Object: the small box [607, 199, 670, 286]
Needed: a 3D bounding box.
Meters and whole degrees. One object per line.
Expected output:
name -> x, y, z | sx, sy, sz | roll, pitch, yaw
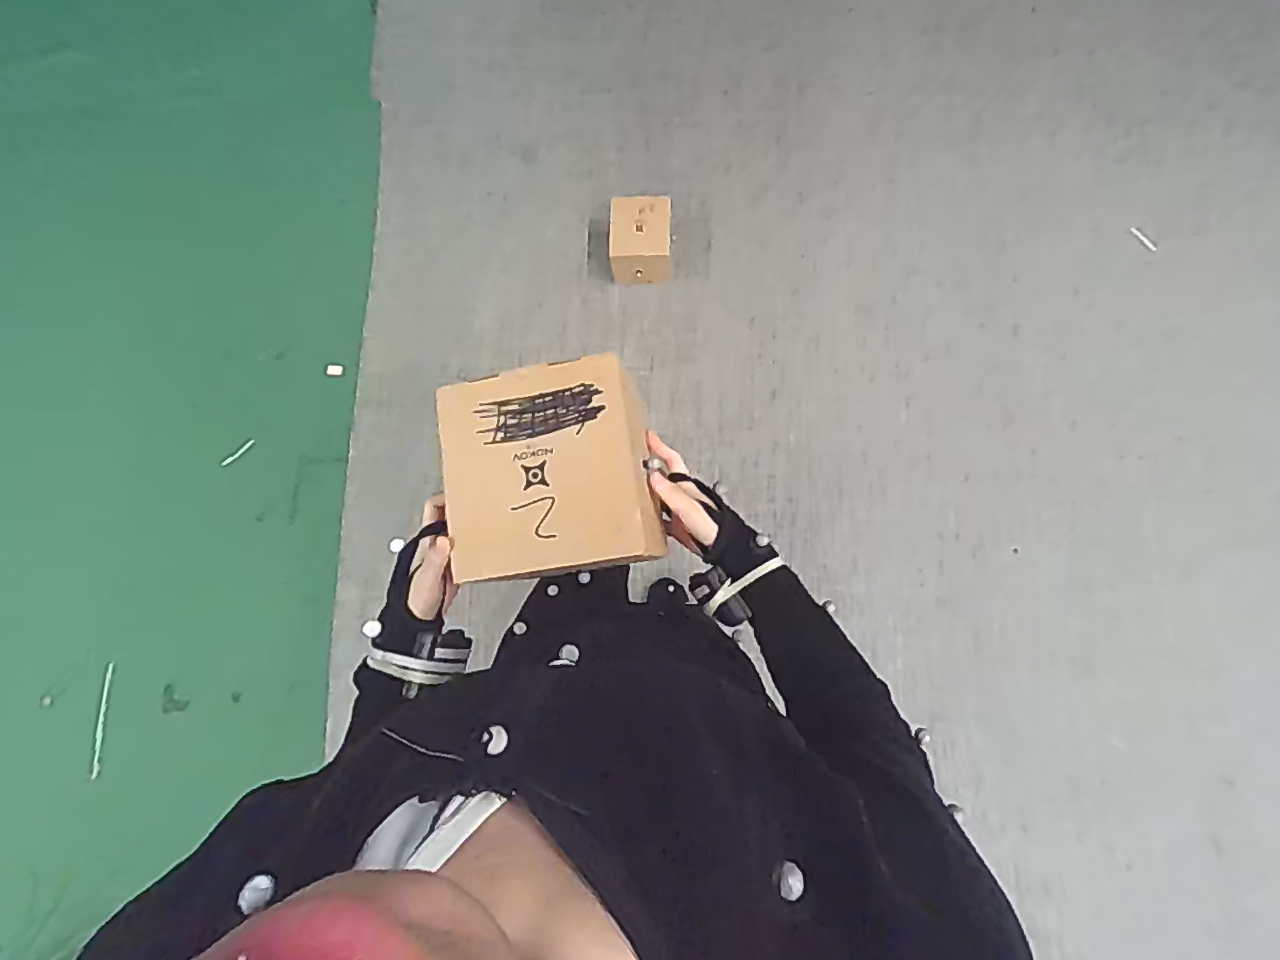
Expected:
small box -> 0.001, -0.672, 1.544 | 0.168, 0.176, 0.179 | 1, 83, 3
